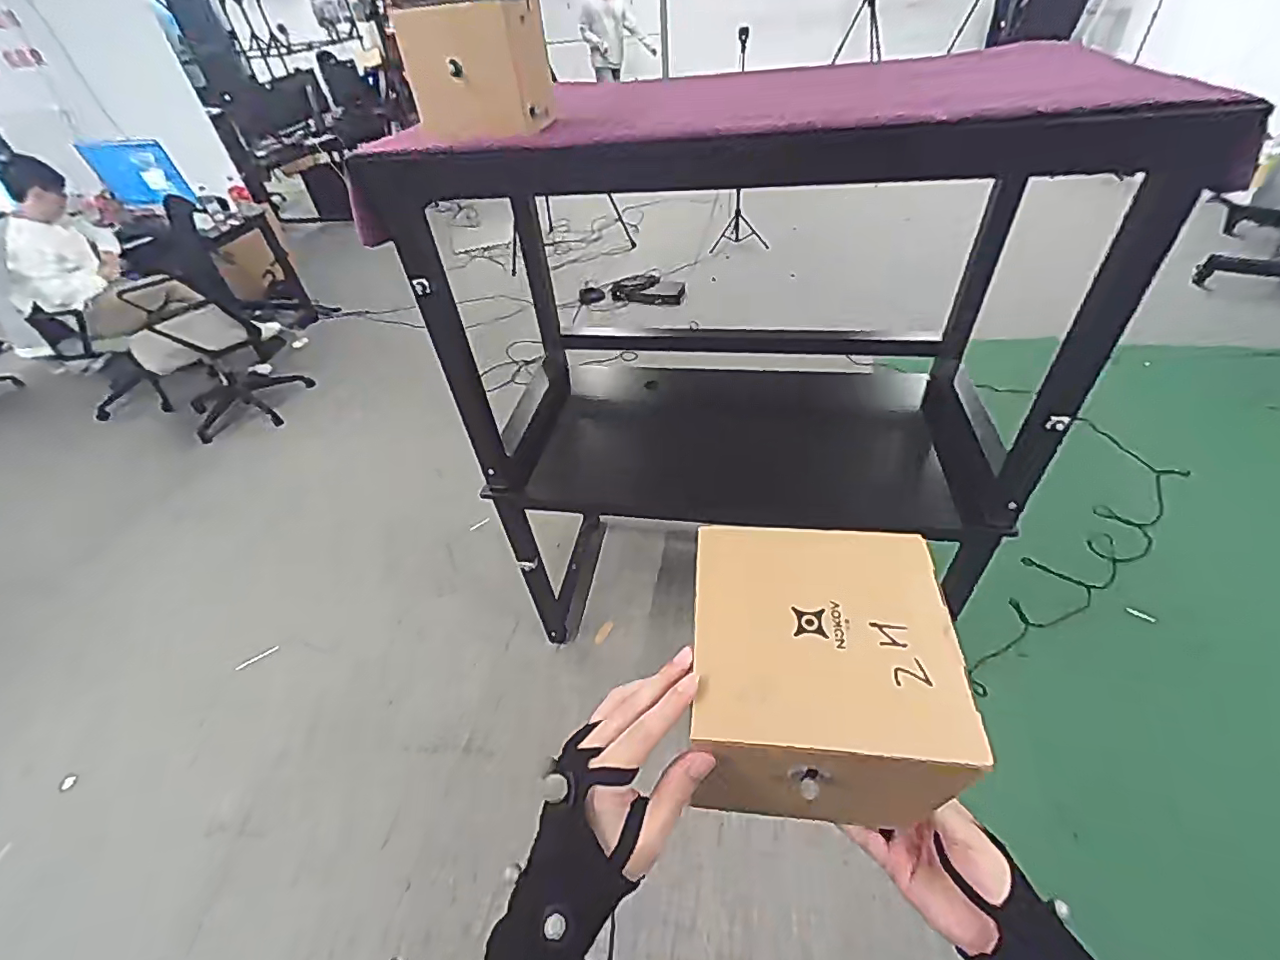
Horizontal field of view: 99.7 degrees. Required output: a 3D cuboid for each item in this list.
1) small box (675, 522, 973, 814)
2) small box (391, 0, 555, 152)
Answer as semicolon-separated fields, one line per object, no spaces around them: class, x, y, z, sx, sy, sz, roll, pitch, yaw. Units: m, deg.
small box;0.125;0.151;0.433;0.179;0.176;0.168;1;48;8
small box;-0.248;-0.640;0.860;0.179;0.176;0.168;2;43;11
